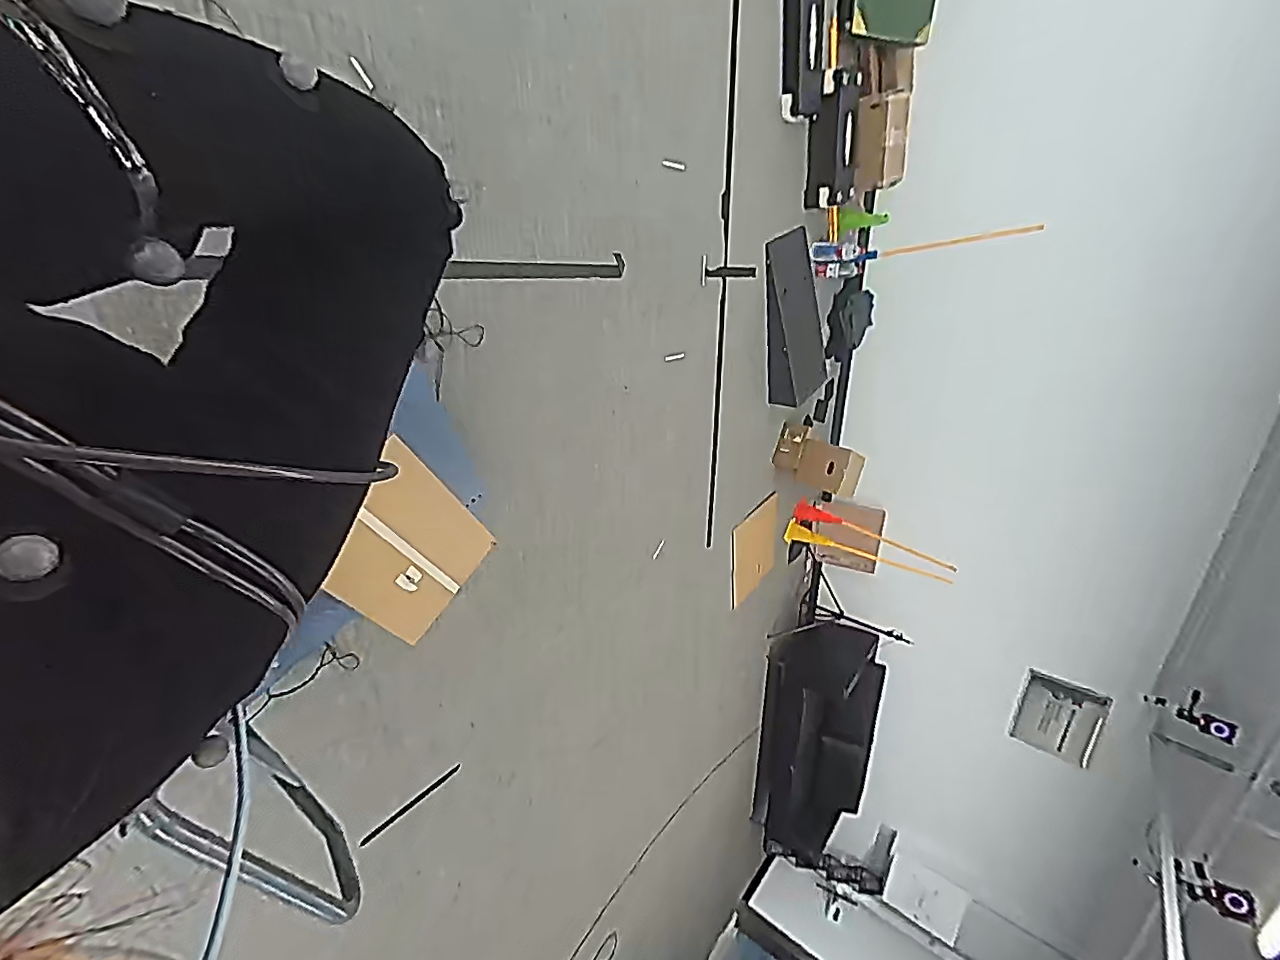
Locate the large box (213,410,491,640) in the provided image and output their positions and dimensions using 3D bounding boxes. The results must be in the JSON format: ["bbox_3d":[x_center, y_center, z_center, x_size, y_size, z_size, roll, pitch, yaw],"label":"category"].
[{"bbox_3d":[-0.637,0.100,1.243,0.320,0.320,0.408,-54,141,-24],"label":"large box"}]
